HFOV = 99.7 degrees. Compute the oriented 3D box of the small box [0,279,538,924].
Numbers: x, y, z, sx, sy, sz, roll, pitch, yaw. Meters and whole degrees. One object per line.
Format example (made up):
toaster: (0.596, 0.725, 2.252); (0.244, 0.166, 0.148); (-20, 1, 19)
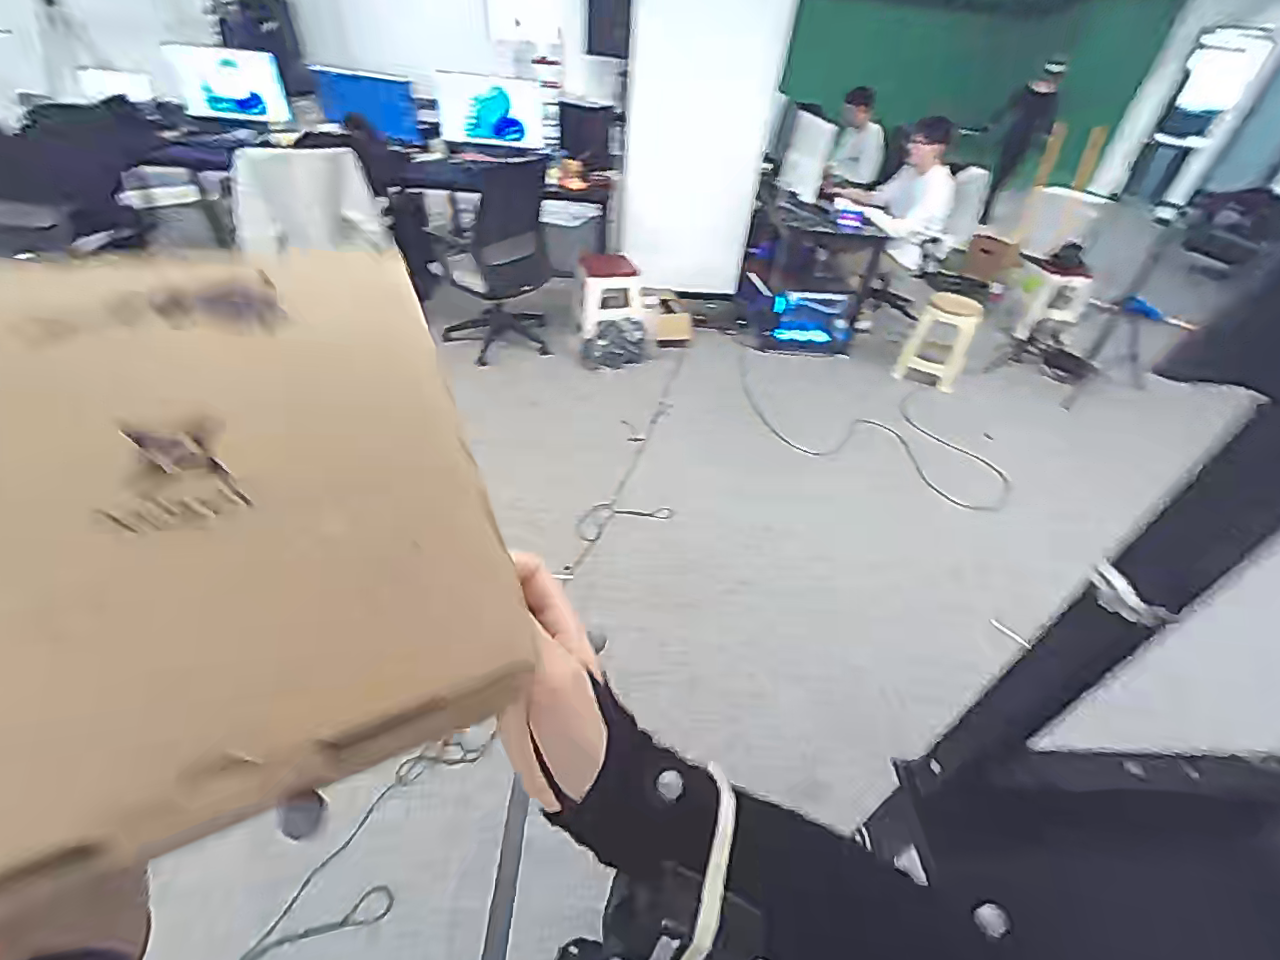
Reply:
small box: (-0.163, 0.043, 0.231); (0.168, 0.176, 0.179); (-15, 70, -31)
